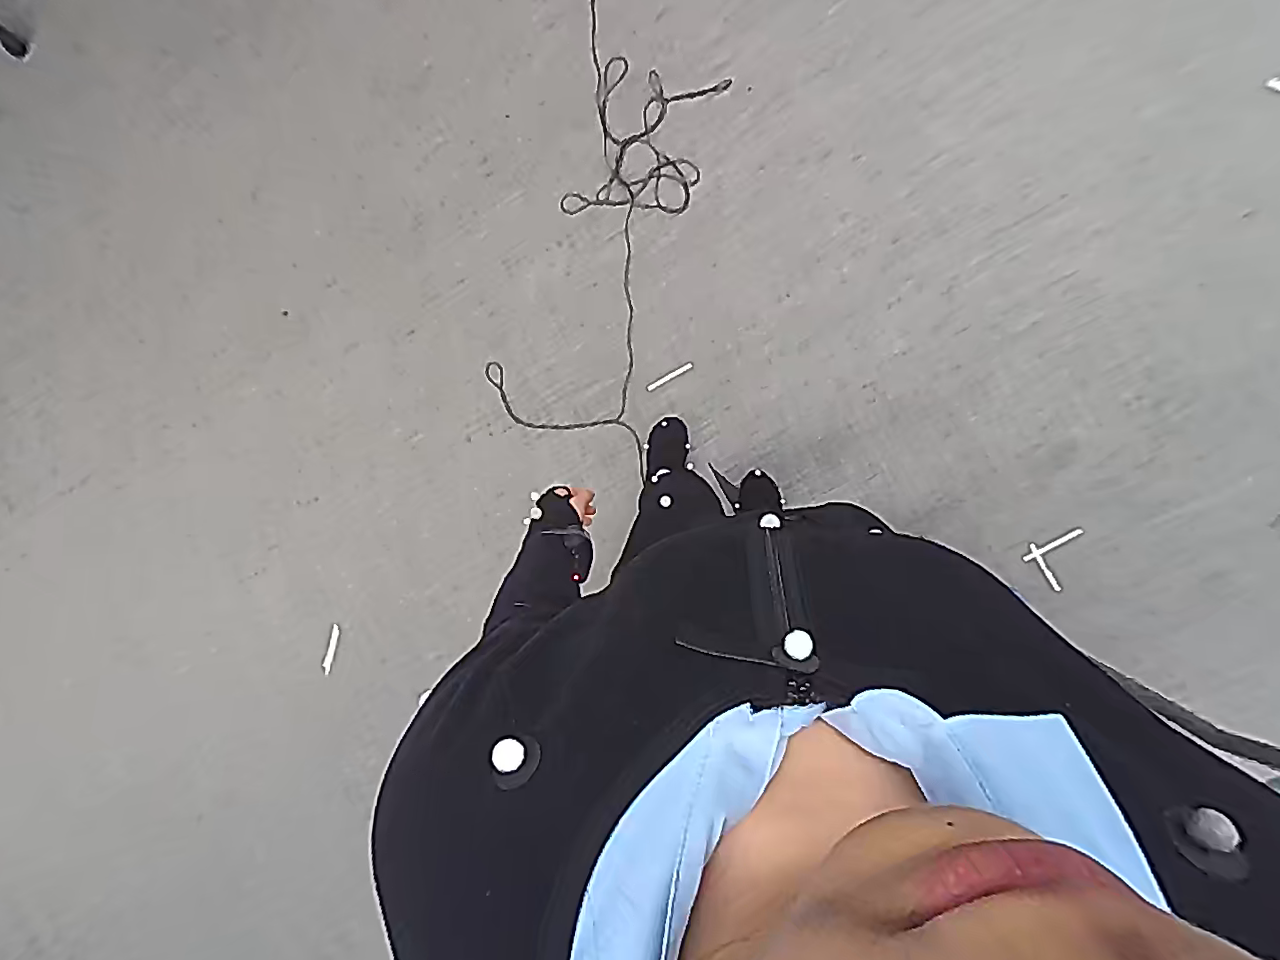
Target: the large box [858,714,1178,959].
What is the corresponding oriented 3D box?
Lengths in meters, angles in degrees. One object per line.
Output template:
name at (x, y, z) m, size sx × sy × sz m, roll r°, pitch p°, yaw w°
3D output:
large box at (0.741, 0.752, 1.134) m, size 0.408 × 0.320 × 0.320 m, roll -20°, pitch 90°, yaw 7°
